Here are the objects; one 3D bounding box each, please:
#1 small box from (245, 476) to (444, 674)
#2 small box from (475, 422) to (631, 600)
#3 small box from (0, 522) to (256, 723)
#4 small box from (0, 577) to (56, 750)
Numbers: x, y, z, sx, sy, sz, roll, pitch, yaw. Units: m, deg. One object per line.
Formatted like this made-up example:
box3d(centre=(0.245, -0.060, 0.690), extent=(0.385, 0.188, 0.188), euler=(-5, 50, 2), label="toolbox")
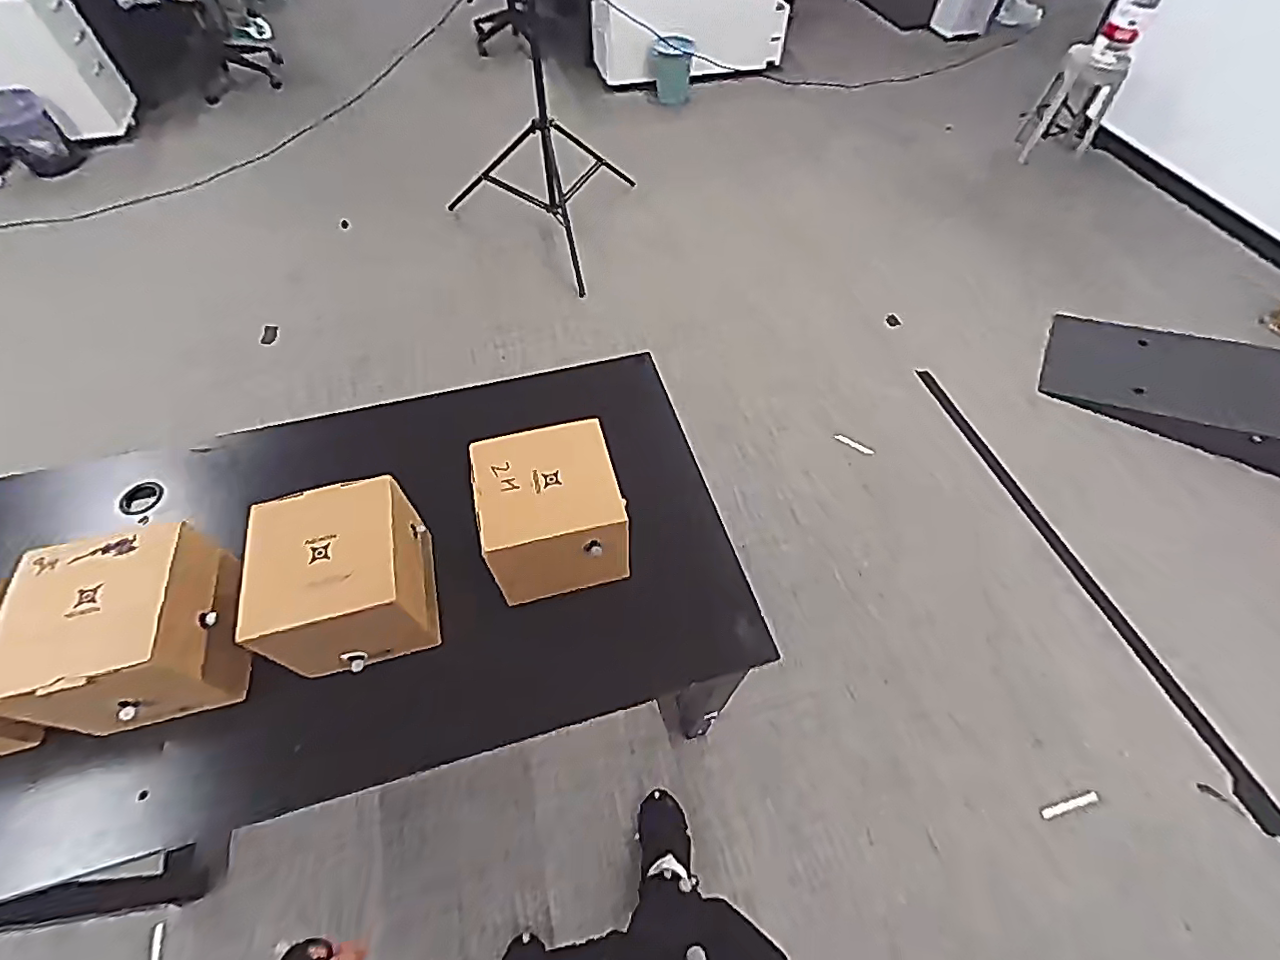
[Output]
box3d(centre=(-0.363, 0.125, 0.694), extent=(0.168, 0.176, 0.179), euler=(-14, 59, -9), label="small box")
box3d(centre=(-0.116, 0.047, 0.746), extent=(0.179, 0.176, 0.168), euler=(-12, 57, -8), label="small box")
box3d(centre=(-0.592, 0.178, 0.652), extent=(0.168, 0.176, 0.179), euler=(-12, 58, -10), label="small box")
box3d(centre=(-0.817, 0.222, 0.617), extent=(0.179, 0.176, 0.168), euler=(-12, 58, -10), label="small box")
